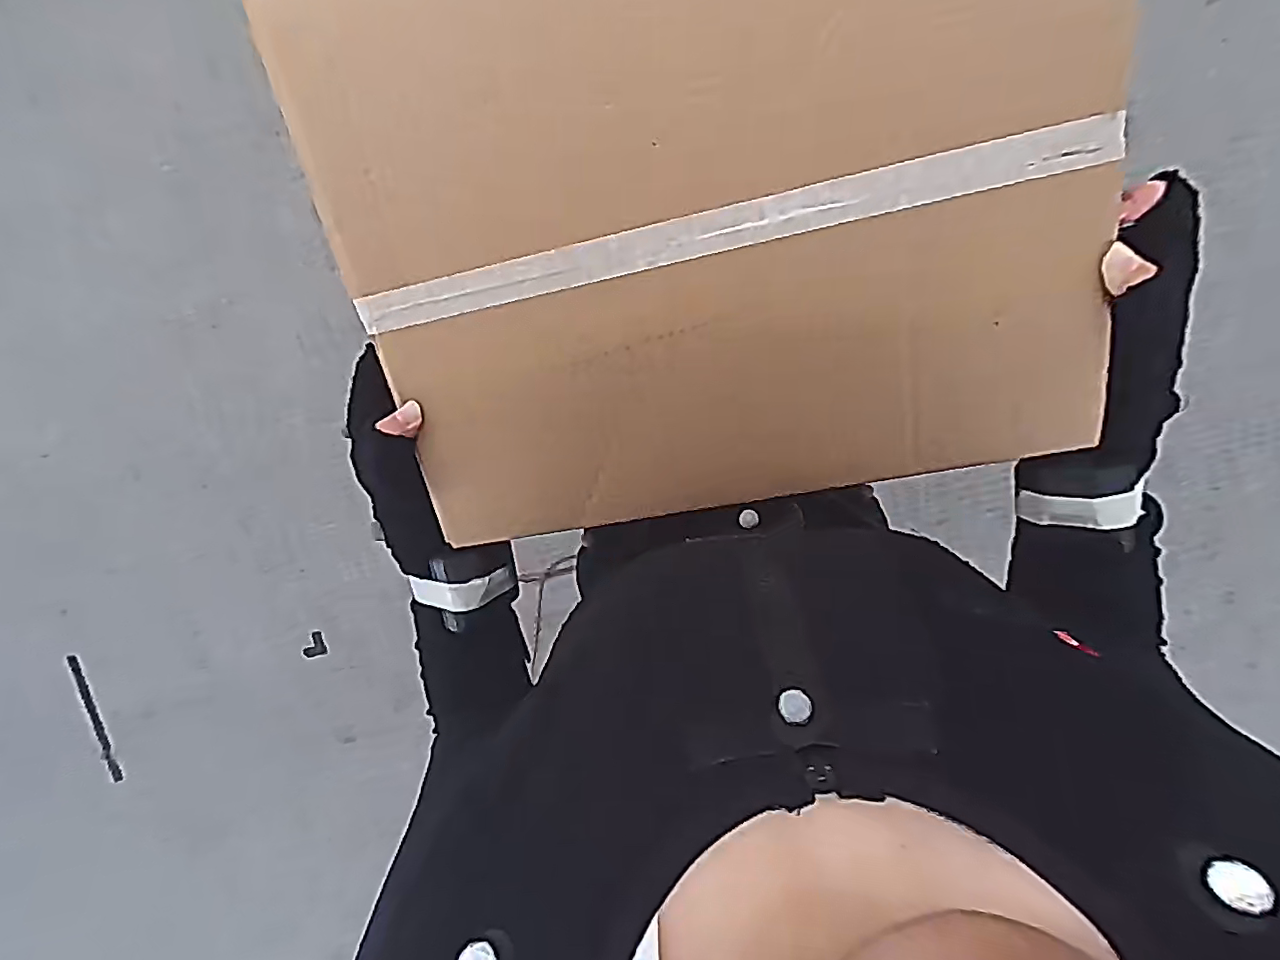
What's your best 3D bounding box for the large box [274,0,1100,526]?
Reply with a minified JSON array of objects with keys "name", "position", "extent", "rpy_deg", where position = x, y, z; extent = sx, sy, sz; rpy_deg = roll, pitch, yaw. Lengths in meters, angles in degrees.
[{"name":"large box","position":[0.041,-0.193,0.438],"extent":[0.408,0.320,0.320],"rpy_deg":[-10,110,8]}]
